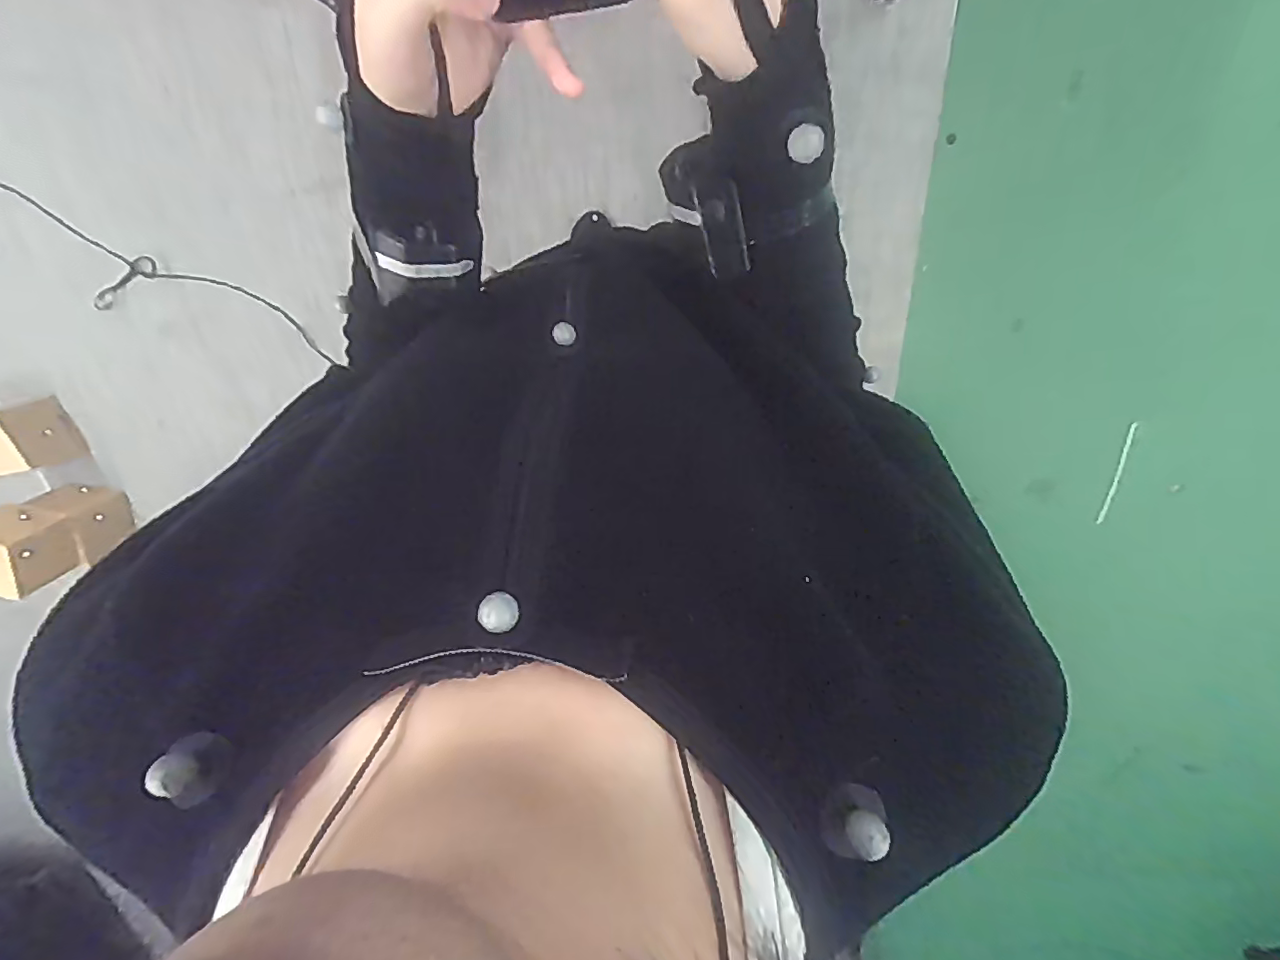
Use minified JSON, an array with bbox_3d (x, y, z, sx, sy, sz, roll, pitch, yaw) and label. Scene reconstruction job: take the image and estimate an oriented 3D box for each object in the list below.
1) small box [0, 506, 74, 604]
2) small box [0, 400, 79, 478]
[{"bbox_3d":[-1.678,0.197,1.443,0.168,0.176,0.179,14,112,-4],"label":"small box"},{"bbox_3d":[-1.714,-0.113,1.480,0.179,0.176,0.168,-8,114,5],"label":"small box"}]
